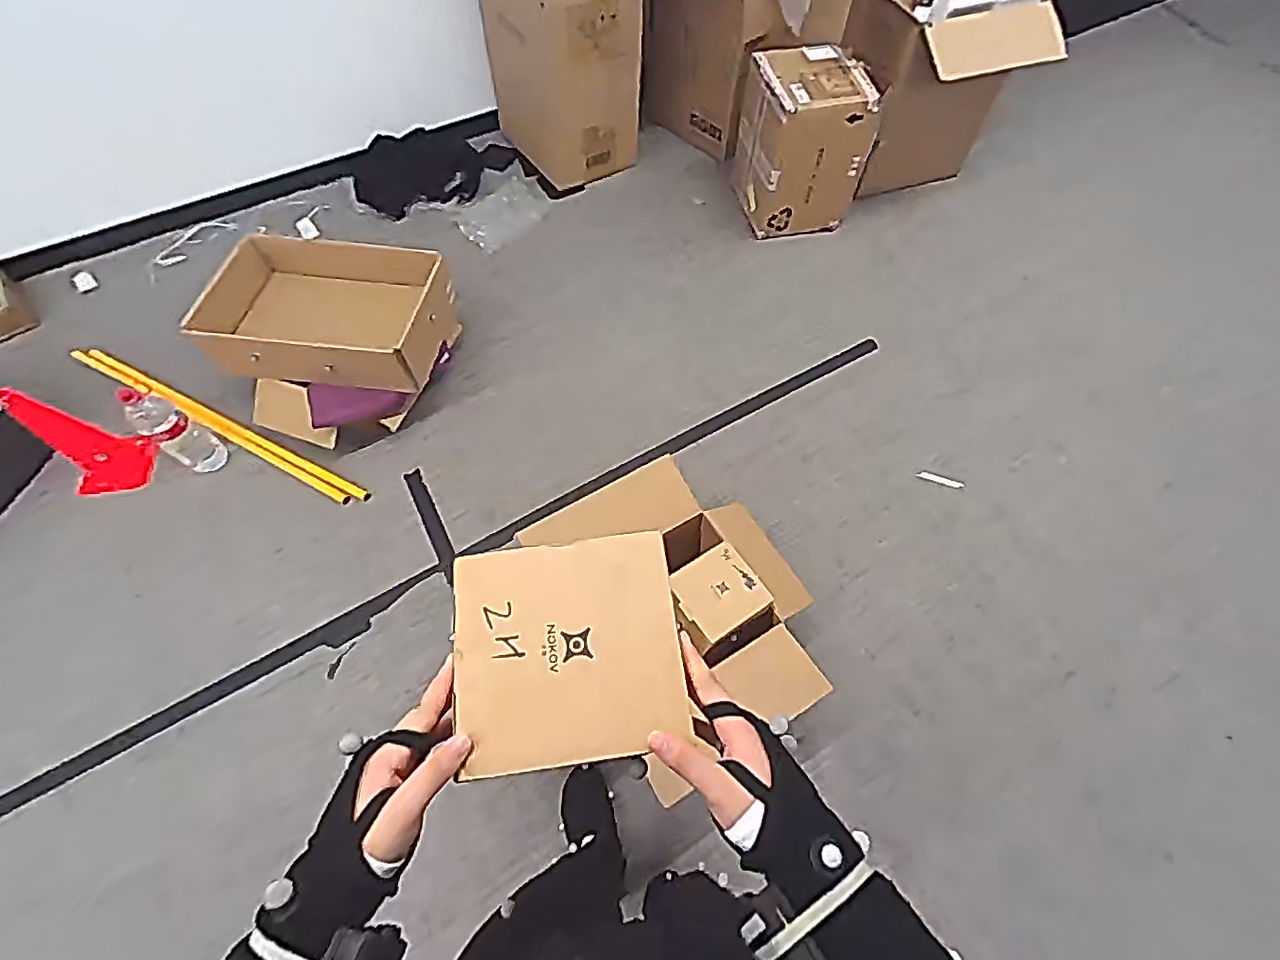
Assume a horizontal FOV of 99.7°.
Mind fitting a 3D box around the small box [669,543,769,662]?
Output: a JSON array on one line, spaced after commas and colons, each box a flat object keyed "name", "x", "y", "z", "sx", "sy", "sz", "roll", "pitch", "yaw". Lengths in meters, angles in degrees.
[{"name": "small box", "x": 0.155, "y": 0.277, "z": 1.201, "sx": 0.179, "sy": 0.176, "sz": 0.168, "roll": -29, "pitch": 63, "yaw": -19}]

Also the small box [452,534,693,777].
[{"name": "small box", "x": -0.056, "y": 0.160, "z": 0.491, "sx": 0.179, "sy": 0.176, "sz": 0.168, "roll": -8, "pitch": 65, "yaw": -2}]
